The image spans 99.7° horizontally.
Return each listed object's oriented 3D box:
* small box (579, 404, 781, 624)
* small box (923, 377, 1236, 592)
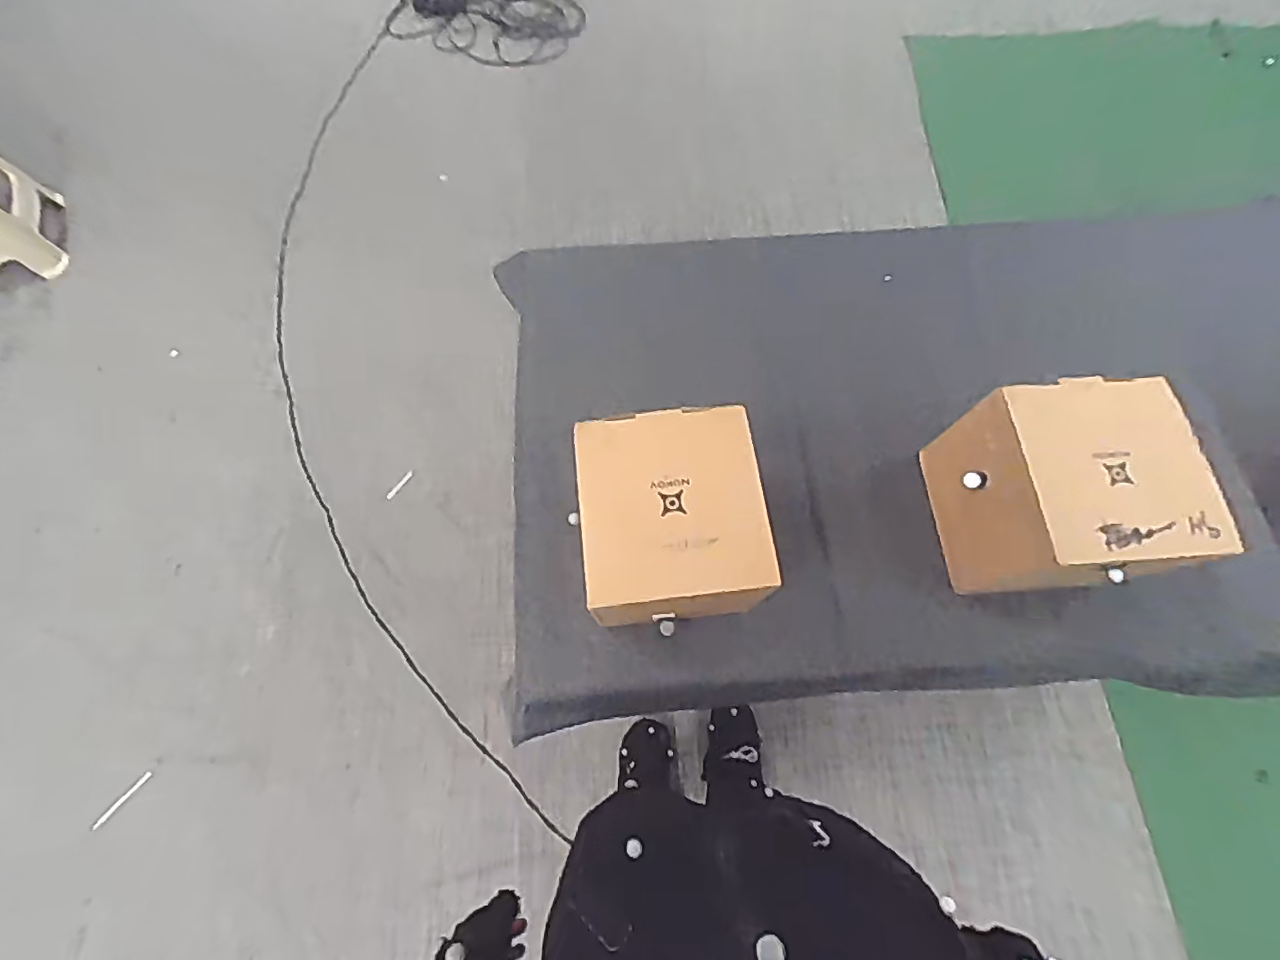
[{"bbox_3d":[0.031,0.044,0.563,0.168,0.176,0.179,-7,70,-1],"label":"small box"},{"bbox_3d":[0.430,0.013,0.570,0.168,0.176,0.179,-4,69,0],"label":"small box"}]
